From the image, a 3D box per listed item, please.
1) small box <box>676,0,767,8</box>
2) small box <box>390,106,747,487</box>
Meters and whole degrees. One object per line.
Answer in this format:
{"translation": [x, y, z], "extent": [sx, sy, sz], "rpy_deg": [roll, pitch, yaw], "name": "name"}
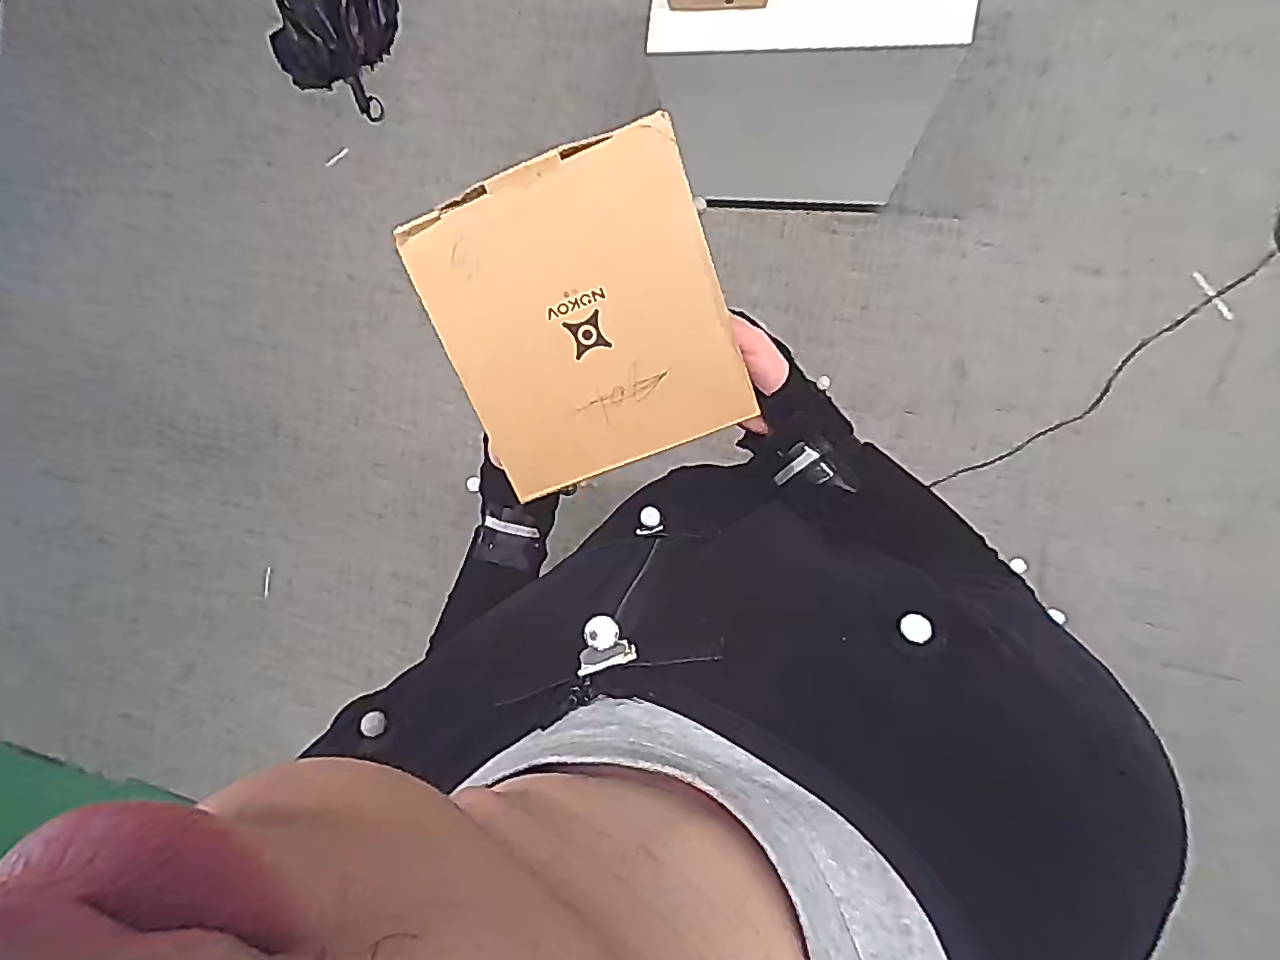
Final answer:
{"translation": [0.126, -0.858, 0.801], "extent": [0.168, 0.176, 0.179], "rpy_deg": [9, 94, 11], "name": "small box"}
{"translation": [-0.037, -0.123, 0.393], "extent": [0.168, 0.176, 0.179], "rpy_deg": [-18, 110, 7], "name": "small box"}
